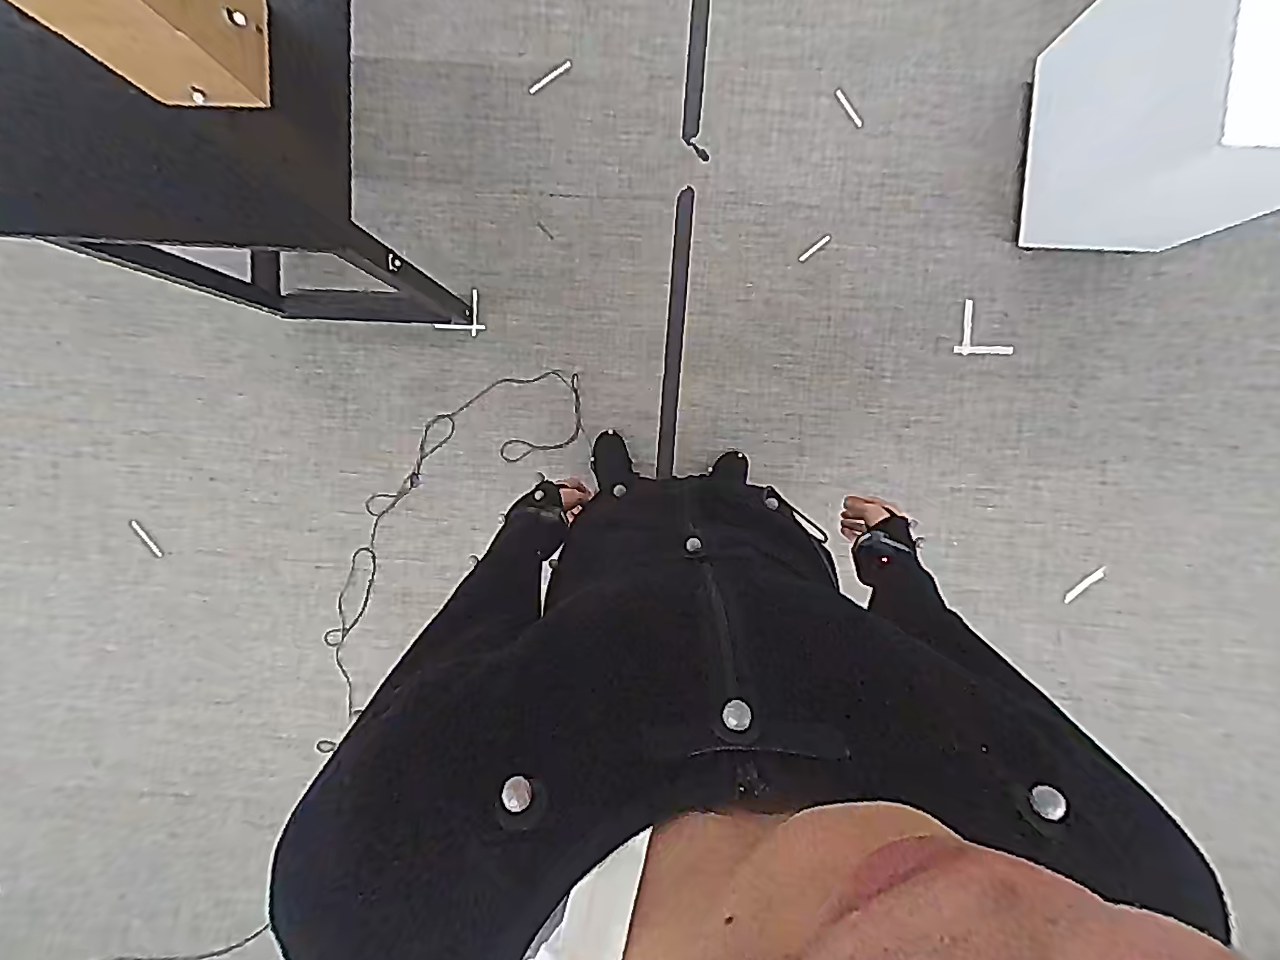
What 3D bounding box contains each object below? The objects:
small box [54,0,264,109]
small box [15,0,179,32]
[{"bbox_3d":[-0.678,-0.671,0.781,0.179,0.176,0.168,1,95,0],"label":"small box"},{"bbox_3d":[-0.682,-0.657,0.616,0.179,0.176,0.168,2,95,1],"label":"small box"}]
